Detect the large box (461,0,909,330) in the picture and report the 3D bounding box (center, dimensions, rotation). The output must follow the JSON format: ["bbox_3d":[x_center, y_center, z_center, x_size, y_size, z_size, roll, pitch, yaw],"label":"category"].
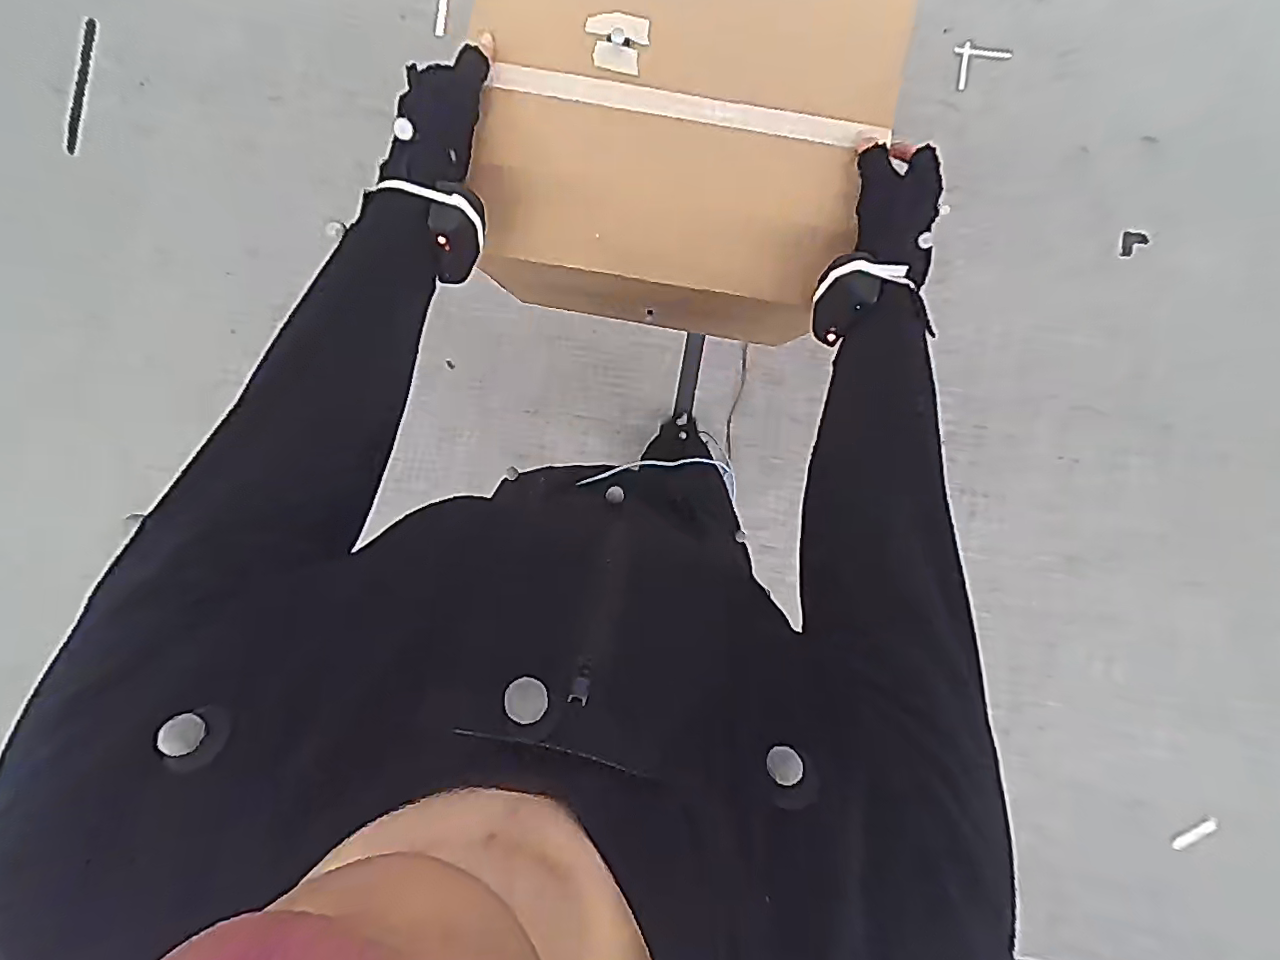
[{"bbox_3d":[0.042,-0.382,0.667,0.408,0.320,0.320,9,97,0],"label":"large box"}]
